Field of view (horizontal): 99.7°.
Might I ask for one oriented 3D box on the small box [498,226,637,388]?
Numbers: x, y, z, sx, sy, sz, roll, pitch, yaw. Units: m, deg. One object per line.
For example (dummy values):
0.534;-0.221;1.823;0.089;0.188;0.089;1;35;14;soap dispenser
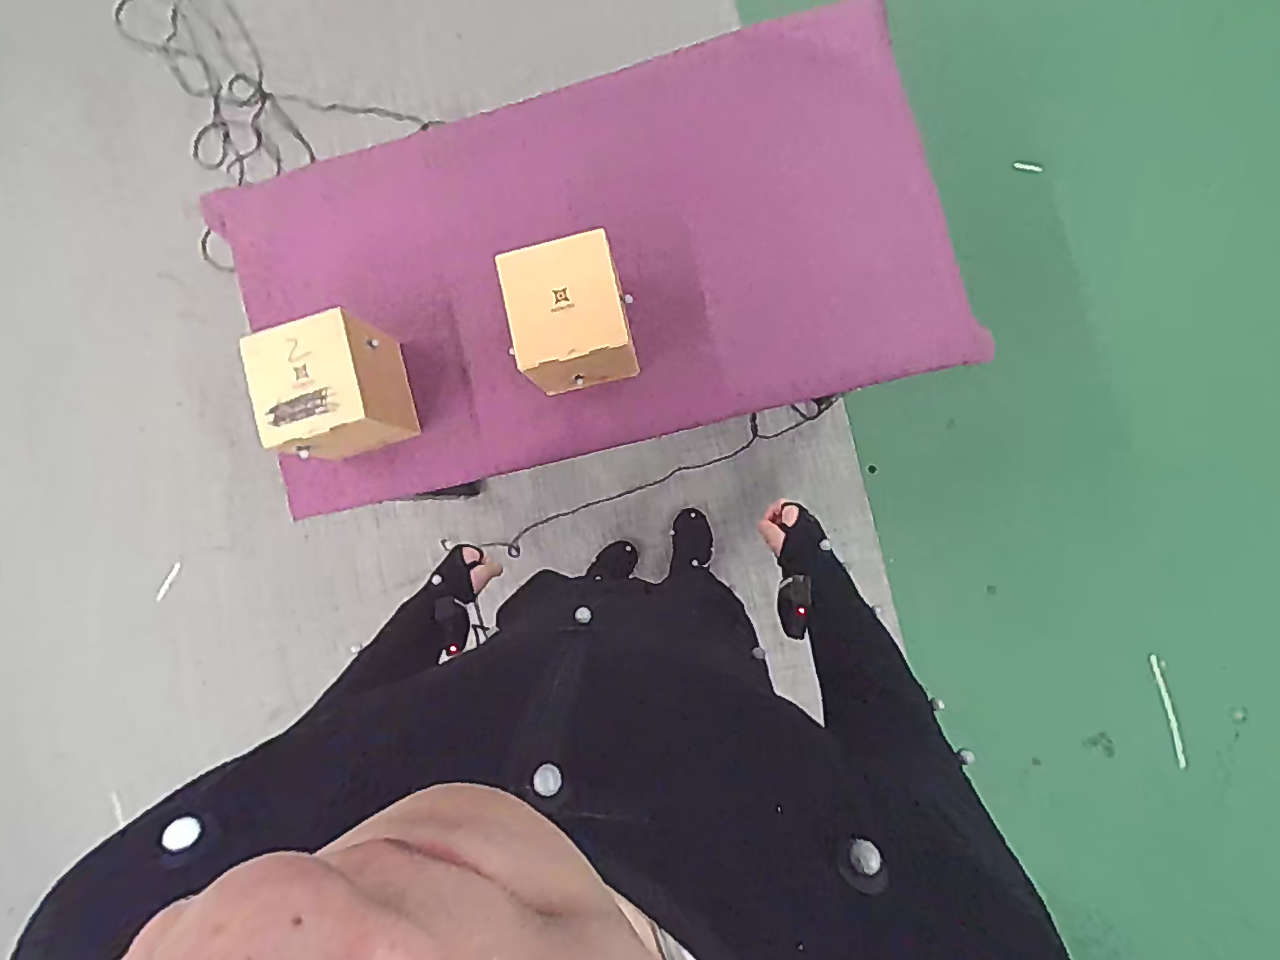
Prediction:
-0.105;-0.260;0.852;0.168;0.176;0.179;-13;88;3;small box
